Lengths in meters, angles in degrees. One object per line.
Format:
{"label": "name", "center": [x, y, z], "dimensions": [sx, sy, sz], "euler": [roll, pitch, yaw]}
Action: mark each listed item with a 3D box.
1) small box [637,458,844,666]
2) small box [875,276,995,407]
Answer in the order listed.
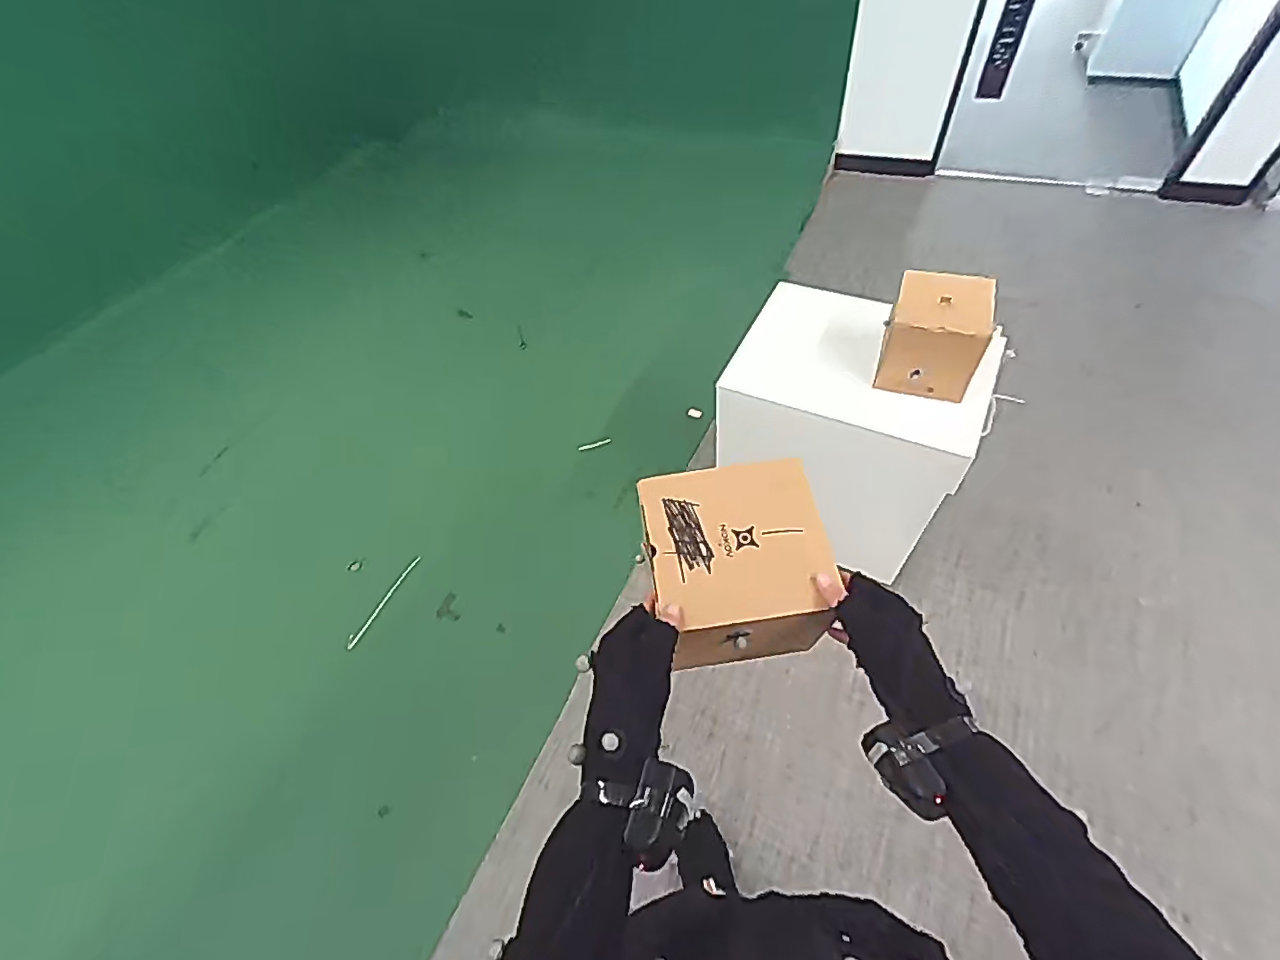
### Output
{"label": "small box", "center": [0.097, 0.097, 0.599], "dimensions": [0.179, 0.176, 0.168], "euler": [-8, 59, -1]}
{"label": "small box", "center": [0.580, -0.275, 1.075], "dimensions": [0.168, 0.176, 0.179], "euler": [14, 57, 18]}
